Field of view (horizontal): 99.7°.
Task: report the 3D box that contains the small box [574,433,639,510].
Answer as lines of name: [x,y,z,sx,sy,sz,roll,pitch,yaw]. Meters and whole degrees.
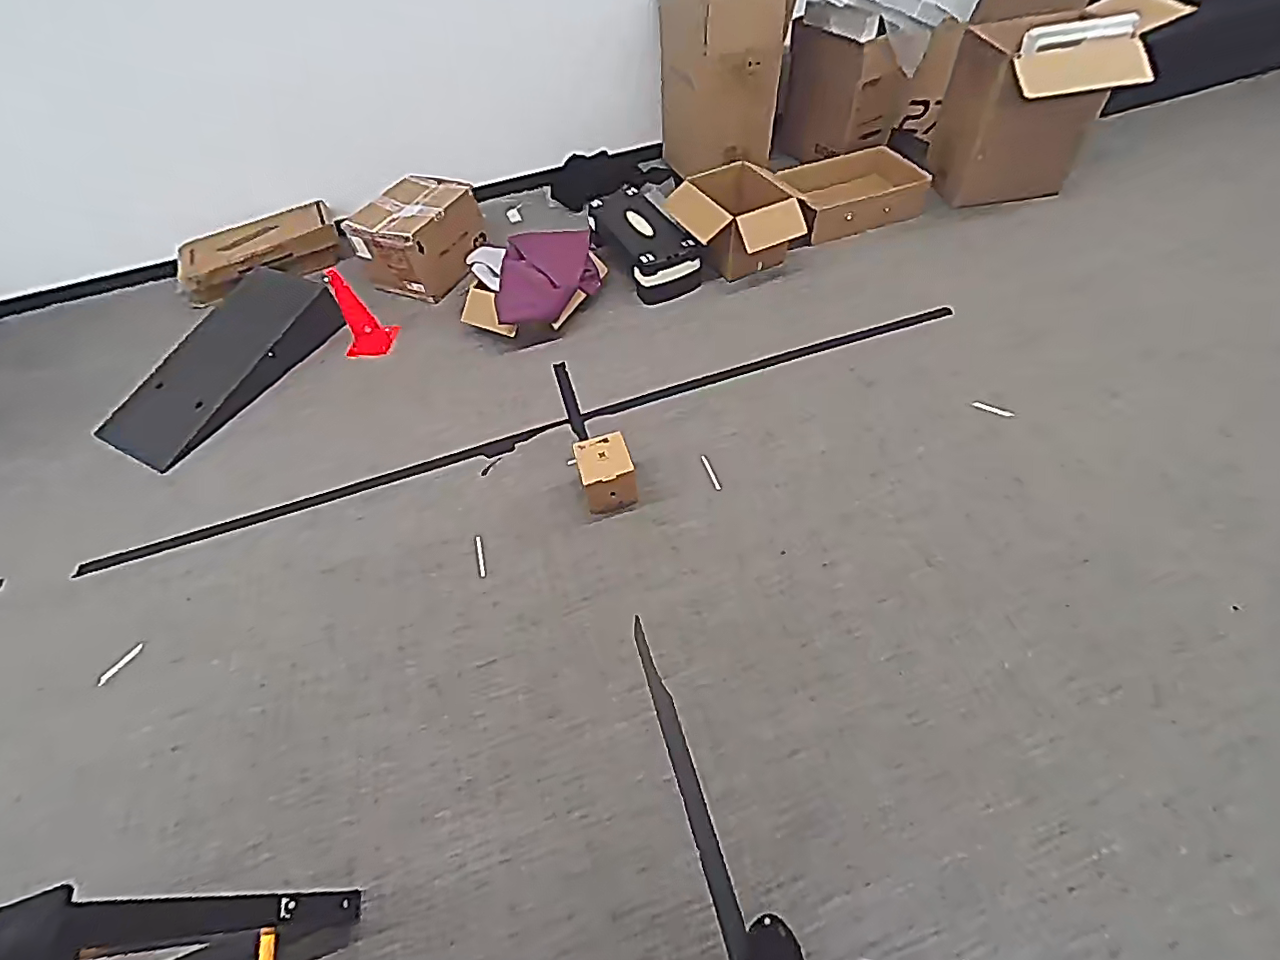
small box: [-0.107,-0.019,1.765,0.168,0.176,0.179,-16,55,-5]
